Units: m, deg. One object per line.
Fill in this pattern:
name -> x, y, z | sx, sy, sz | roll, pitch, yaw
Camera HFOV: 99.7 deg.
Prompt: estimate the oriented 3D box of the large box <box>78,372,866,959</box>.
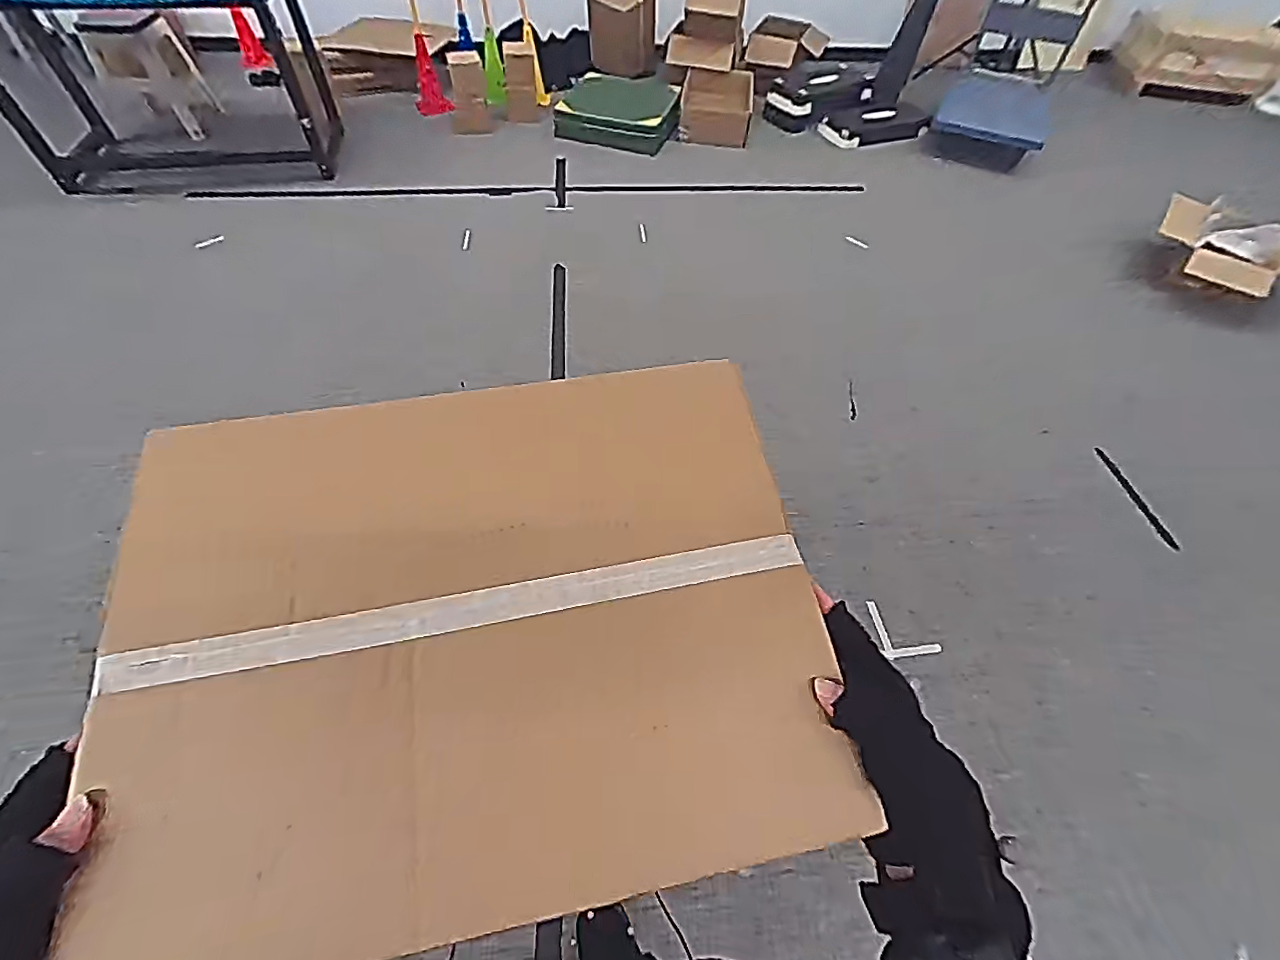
large box -> -0.102, 0.145, 0.465 | 0.408, 0.320, 0.320 | -9, 65, -7
